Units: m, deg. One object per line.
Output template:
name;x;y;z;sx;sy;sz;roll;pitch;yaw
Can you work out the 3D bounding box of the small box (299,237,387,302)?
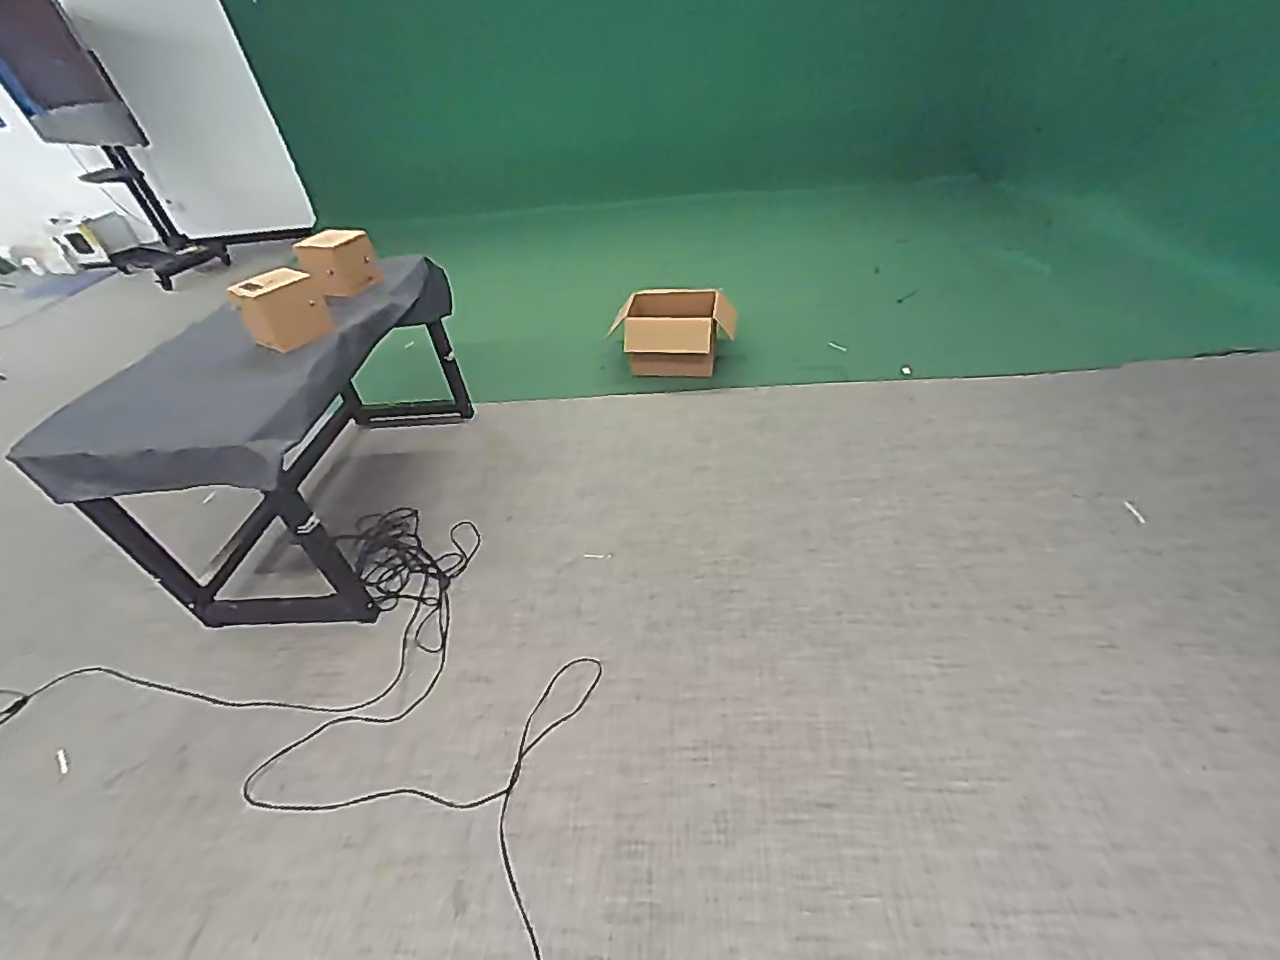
small box;-1.025;-0.732;1.881;0.179;0.176;0.168;9;42;20
